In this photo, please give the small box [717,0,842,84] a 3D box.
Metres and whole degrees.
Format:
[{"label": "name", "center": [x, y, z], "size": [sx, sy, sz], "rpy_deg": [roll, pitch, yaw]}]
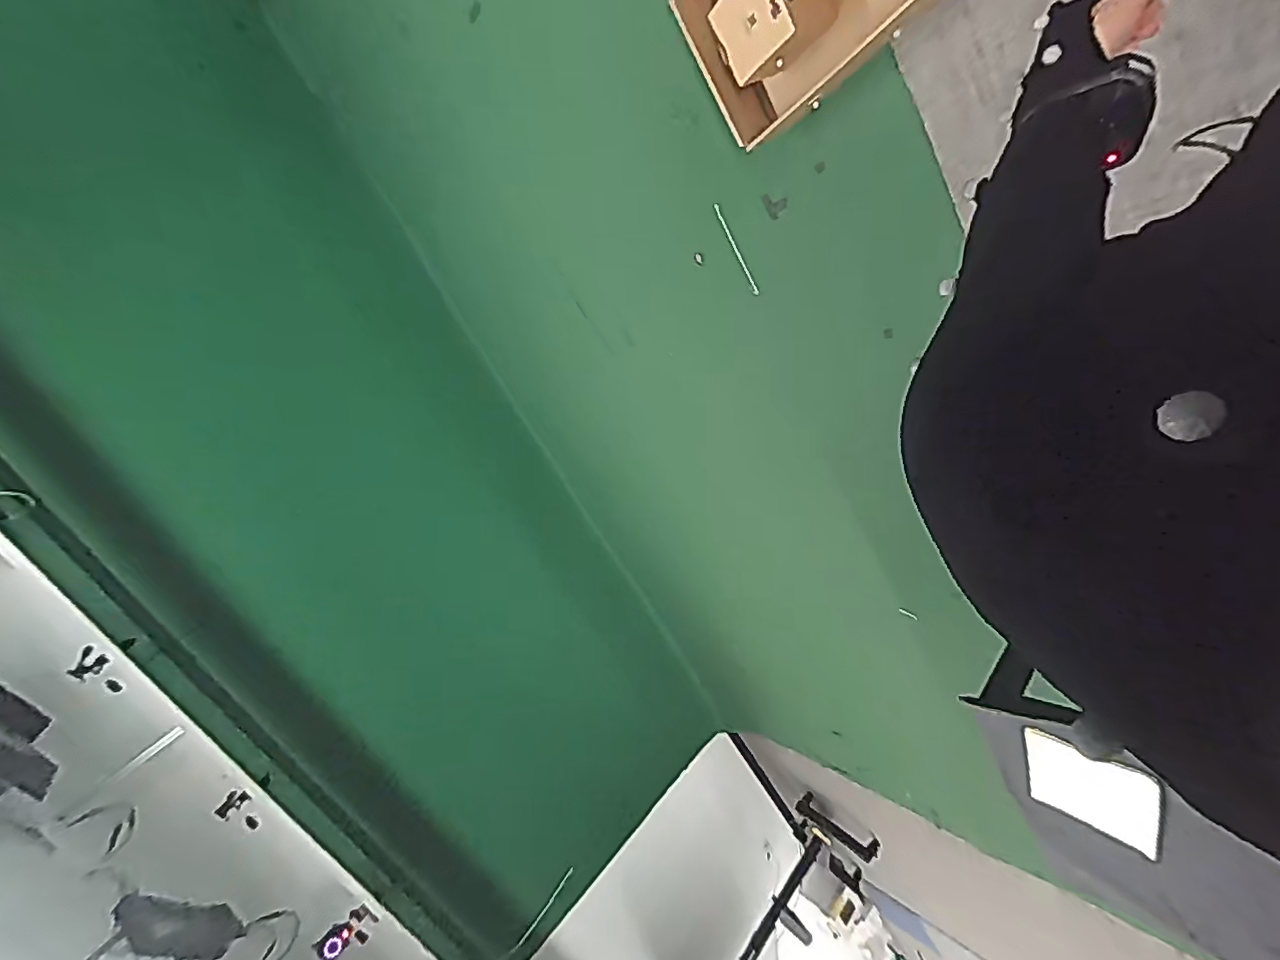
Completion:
[{"label": "small box", "center": [0.314, -1.042, 1.214], "size": [0.179, 0.176, 0.168], "rpy_deg": [-7, 116, 59]}]
